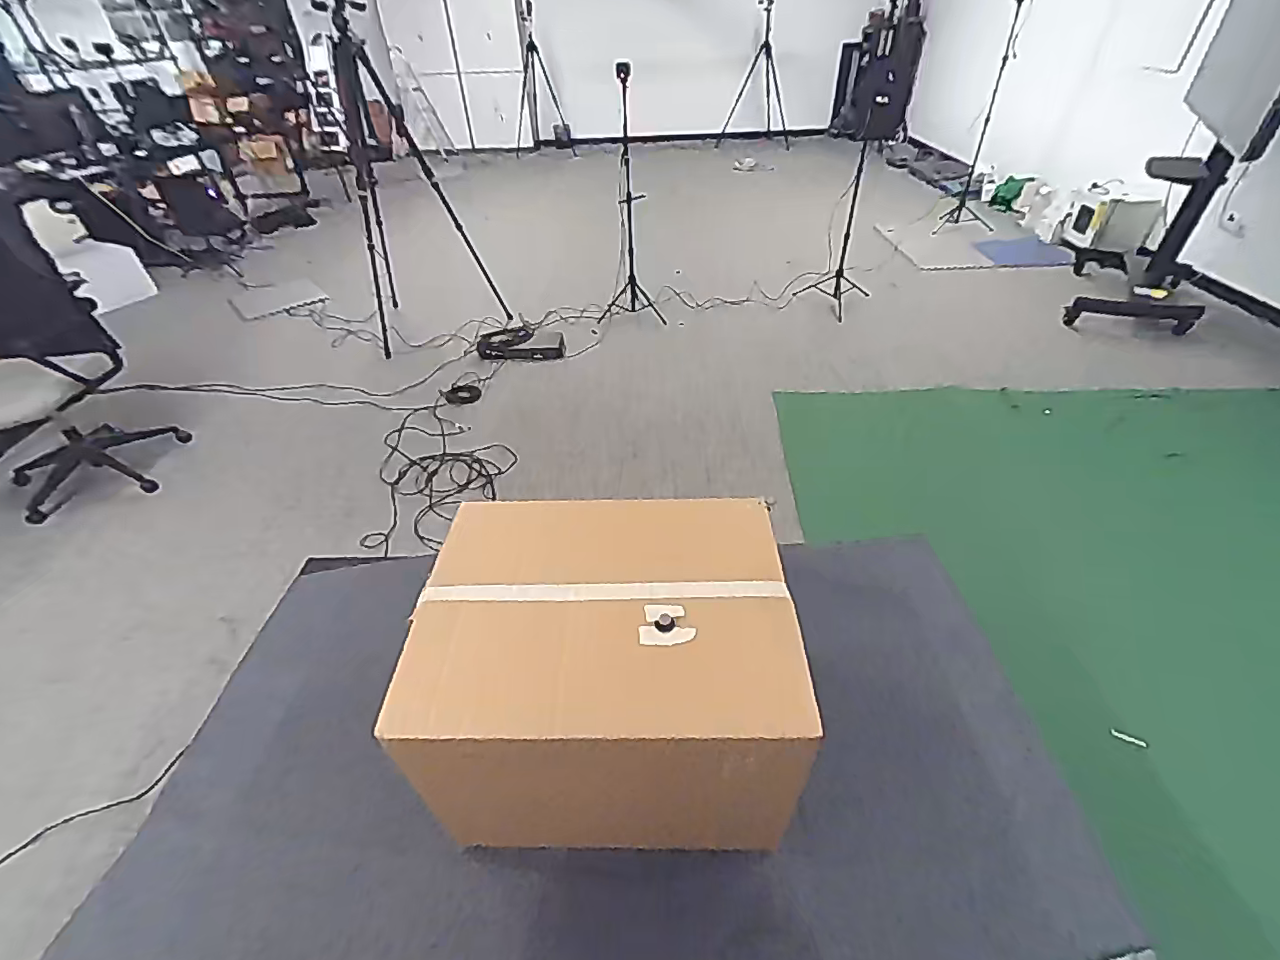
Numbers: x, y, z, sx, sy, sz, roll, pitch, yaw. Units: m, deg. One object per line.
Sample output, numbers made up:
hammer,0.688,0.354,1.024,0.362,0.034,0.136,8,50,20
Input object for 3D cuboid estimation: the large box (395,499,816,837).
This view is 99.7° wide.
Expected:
large box,-0.031,0.242,0.709,0.408,0.320,0.320,-1,41,1
